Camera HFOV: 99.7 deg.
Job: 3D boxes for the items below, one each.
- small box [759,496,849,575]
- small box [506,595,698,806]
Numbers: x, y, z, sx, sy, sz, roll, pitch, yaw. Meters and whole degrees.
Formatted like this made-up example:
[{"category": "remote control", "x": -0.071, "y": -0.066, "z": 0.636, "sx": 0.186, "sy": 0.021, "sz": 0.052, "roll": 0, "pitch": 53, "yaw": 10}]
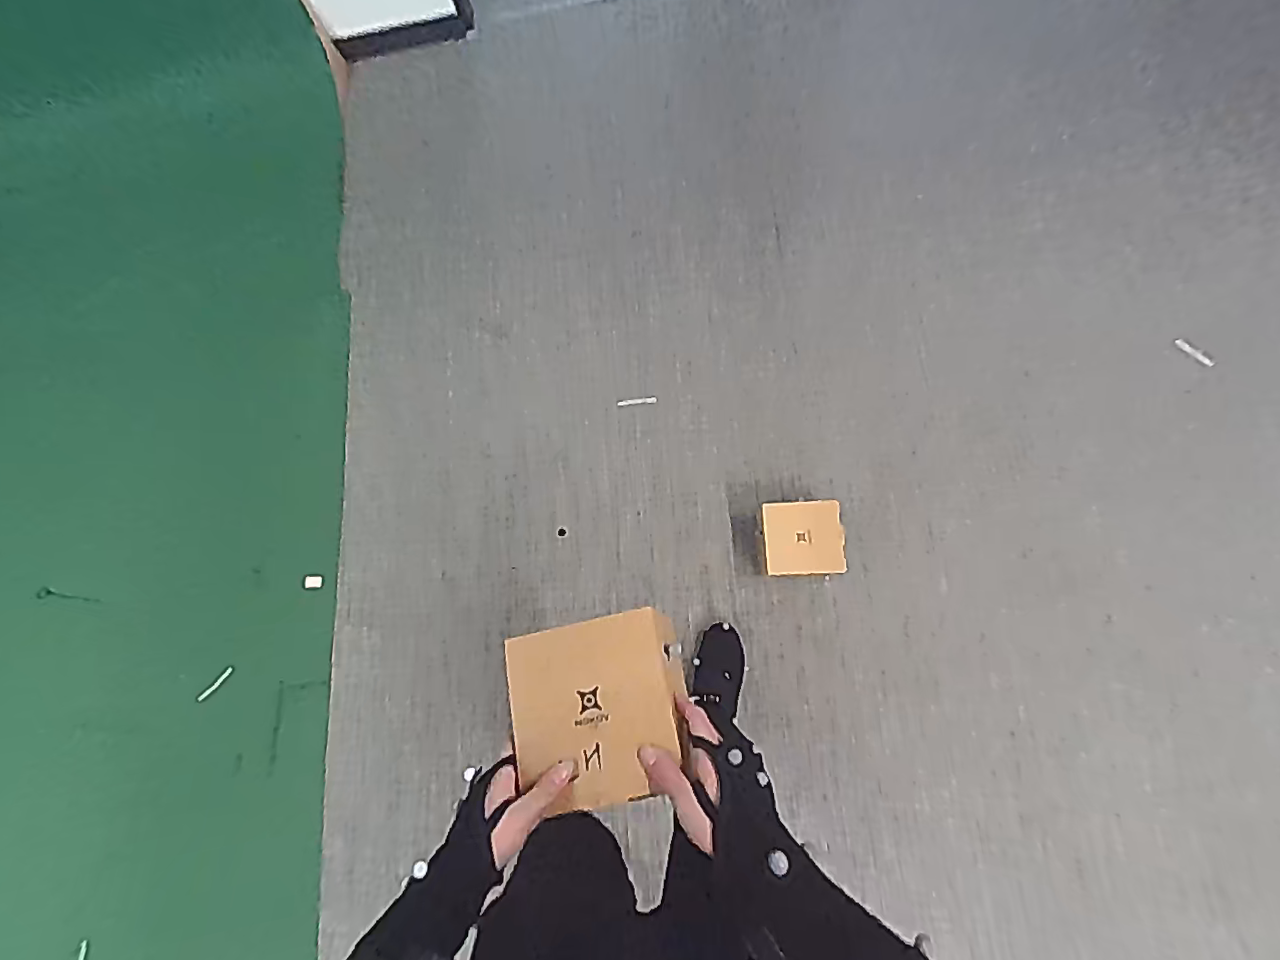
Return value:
[{"category": "small box", "x": 0.379, "y": 0.138, "z": 1.285, "sx": 0.179, "sy": 0.176, "sz": 0.168, "roll": -4, "pitch": 77, "yaw": 6}, {"category": "small box", "x": -0.036, "y": 0.243, "z": 0.614, "sx": 0.168, "sy": 0.176, "sz": 0.179, "roll": -14, "pitch": 69, "yaw": 7}]
